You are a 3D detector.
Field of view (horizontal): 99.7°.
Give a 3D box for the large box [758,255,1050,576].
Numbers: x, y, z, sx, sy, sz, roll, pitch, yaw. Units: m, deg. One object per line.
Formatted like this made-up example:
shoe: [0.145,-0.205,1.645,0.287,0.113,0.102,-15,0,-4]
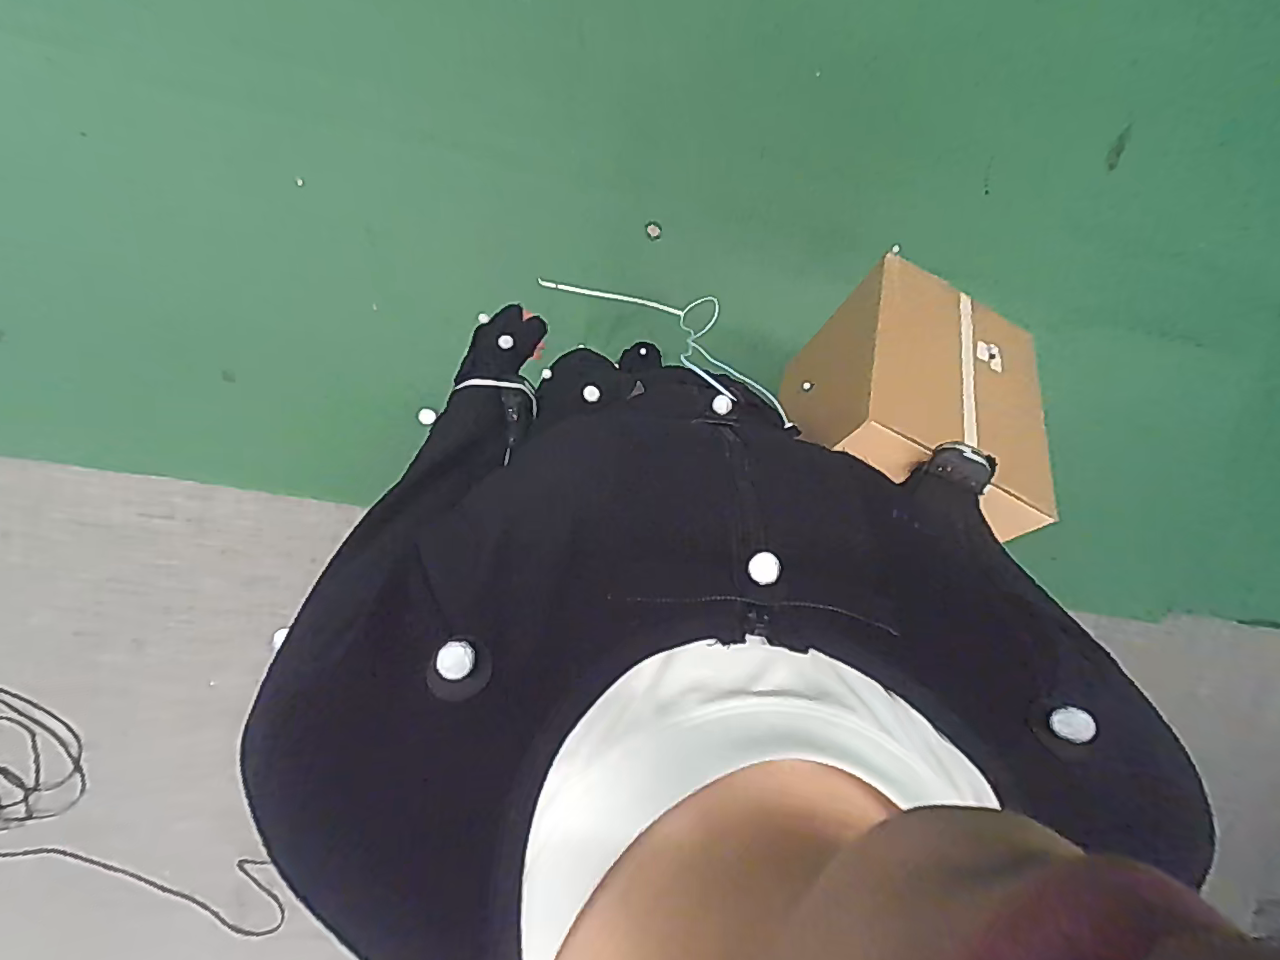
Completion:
large box: [0.446,-0.101,0.964,0.320,0.320,0.408,26,57,-8]
